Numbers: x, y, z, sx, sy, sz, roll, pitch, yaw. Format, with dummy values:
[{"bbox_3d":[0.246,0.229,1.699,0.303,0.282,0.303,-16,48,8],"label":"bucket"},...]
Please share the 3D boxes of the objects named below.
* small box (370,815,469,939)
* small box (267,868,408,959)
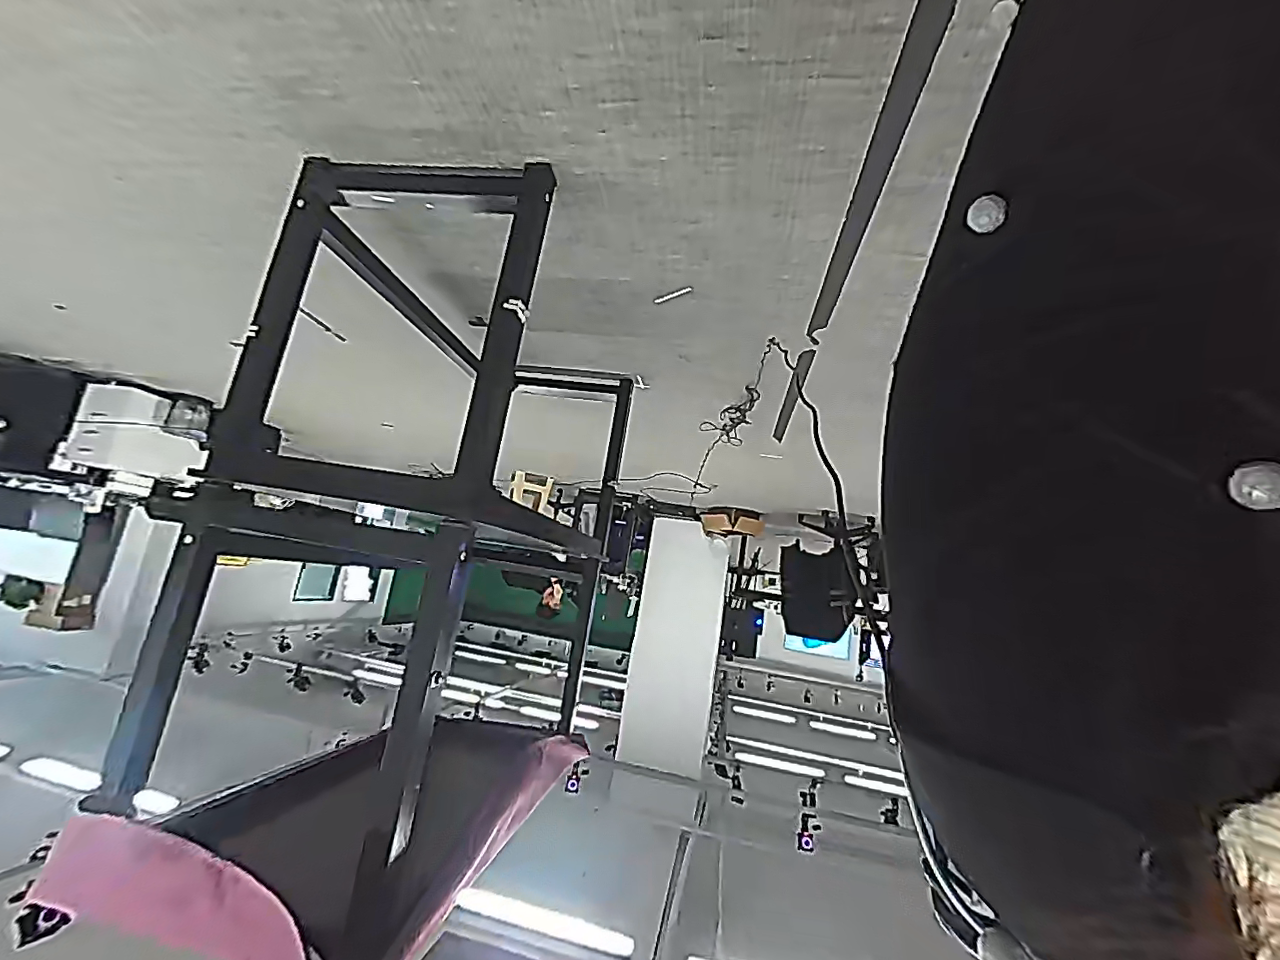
[{"bbox_3d":[-0.529,0.928,1.283,0.168,0.176,0.179,9,169,7],"label":"small box"},{"bbox_3d":[-0.572,0.873,1.022,0.179,0.176,0.168,9,170,7],"label":"small box"}]
